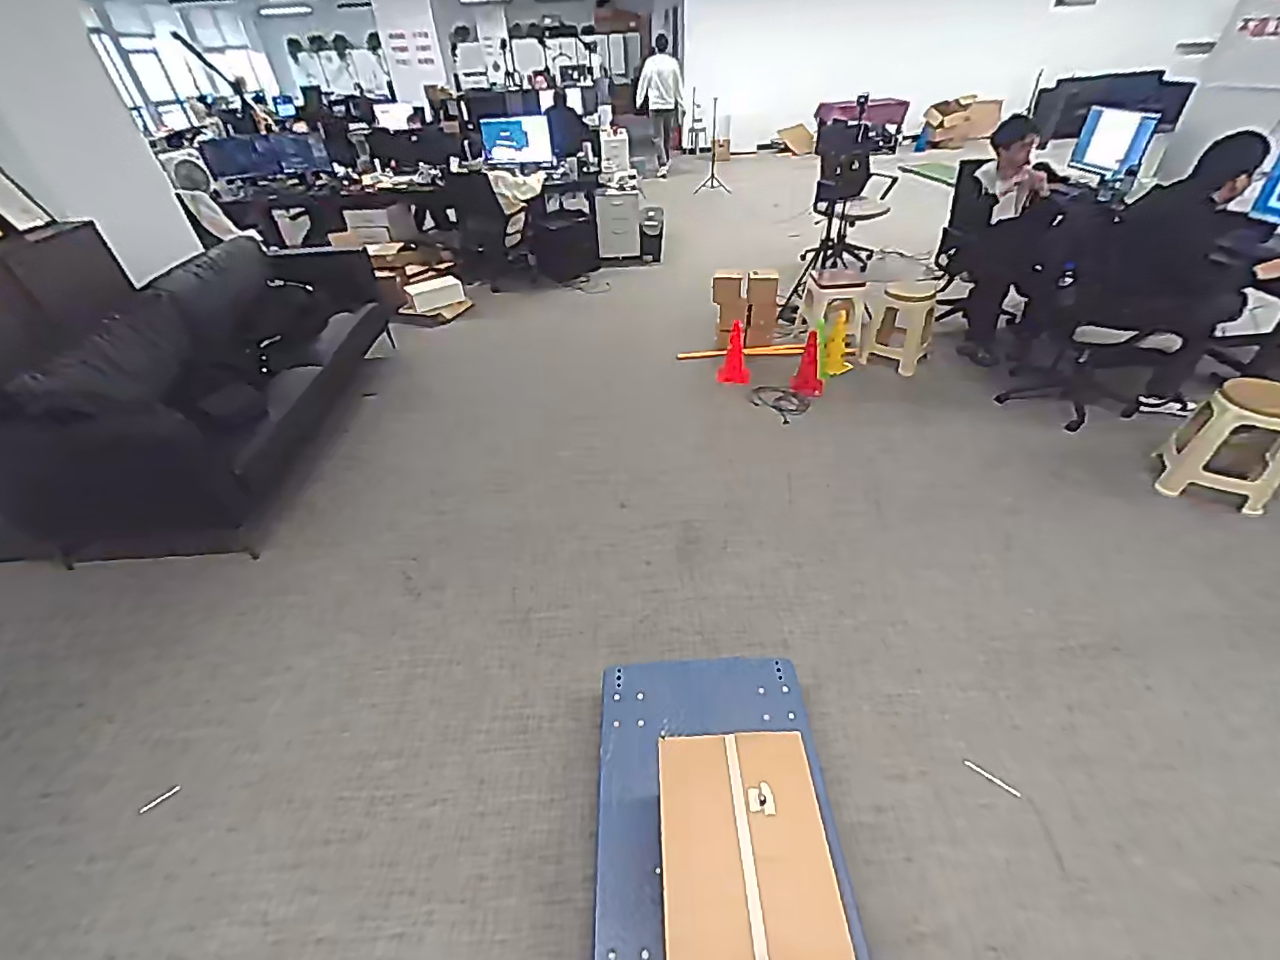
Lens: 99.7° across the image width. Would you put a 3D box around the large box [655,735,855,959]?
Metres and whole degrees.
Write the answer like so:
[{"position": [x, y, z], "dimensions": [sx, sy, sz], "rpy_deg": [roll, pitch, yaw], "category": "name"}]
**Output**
[{"position": [0.202, 0.807, 1.118], "dimensions": [0.320, 0.320, 0.408], "rpy_deg": [-3, 37, 0], "category": "large box"}]
